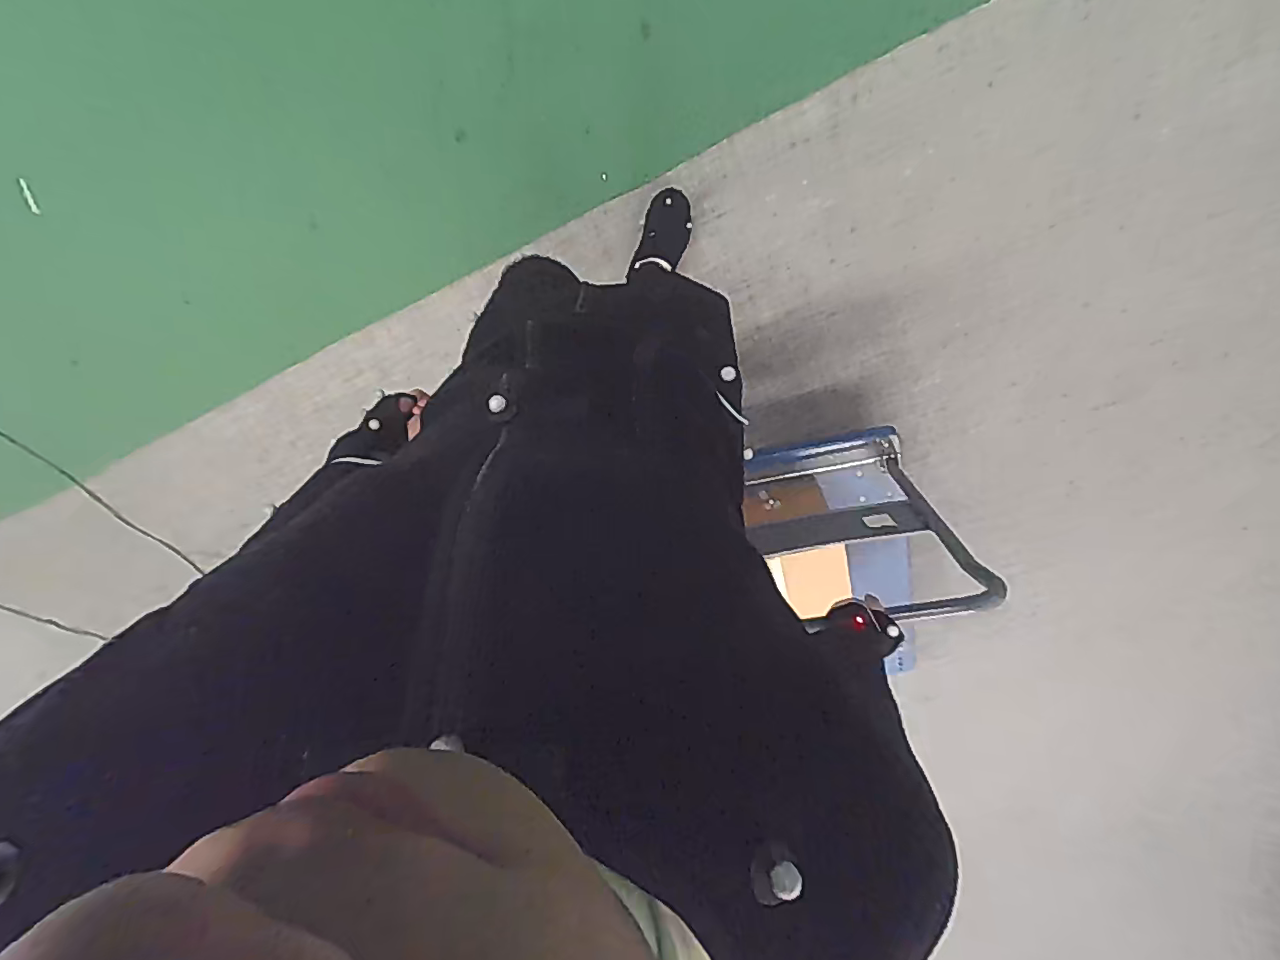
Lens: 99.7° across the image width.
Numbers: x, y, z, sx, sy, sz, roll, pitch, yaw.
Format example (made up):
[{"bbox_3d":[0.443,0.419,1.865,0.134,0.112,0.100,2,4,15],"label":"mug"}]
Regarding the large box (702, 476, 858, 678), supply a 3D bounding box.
[{"bbox_3d":[0.364,0.255,1.455,0.320,0.320,0.408,-12,117,12],"label":"large box"}]
